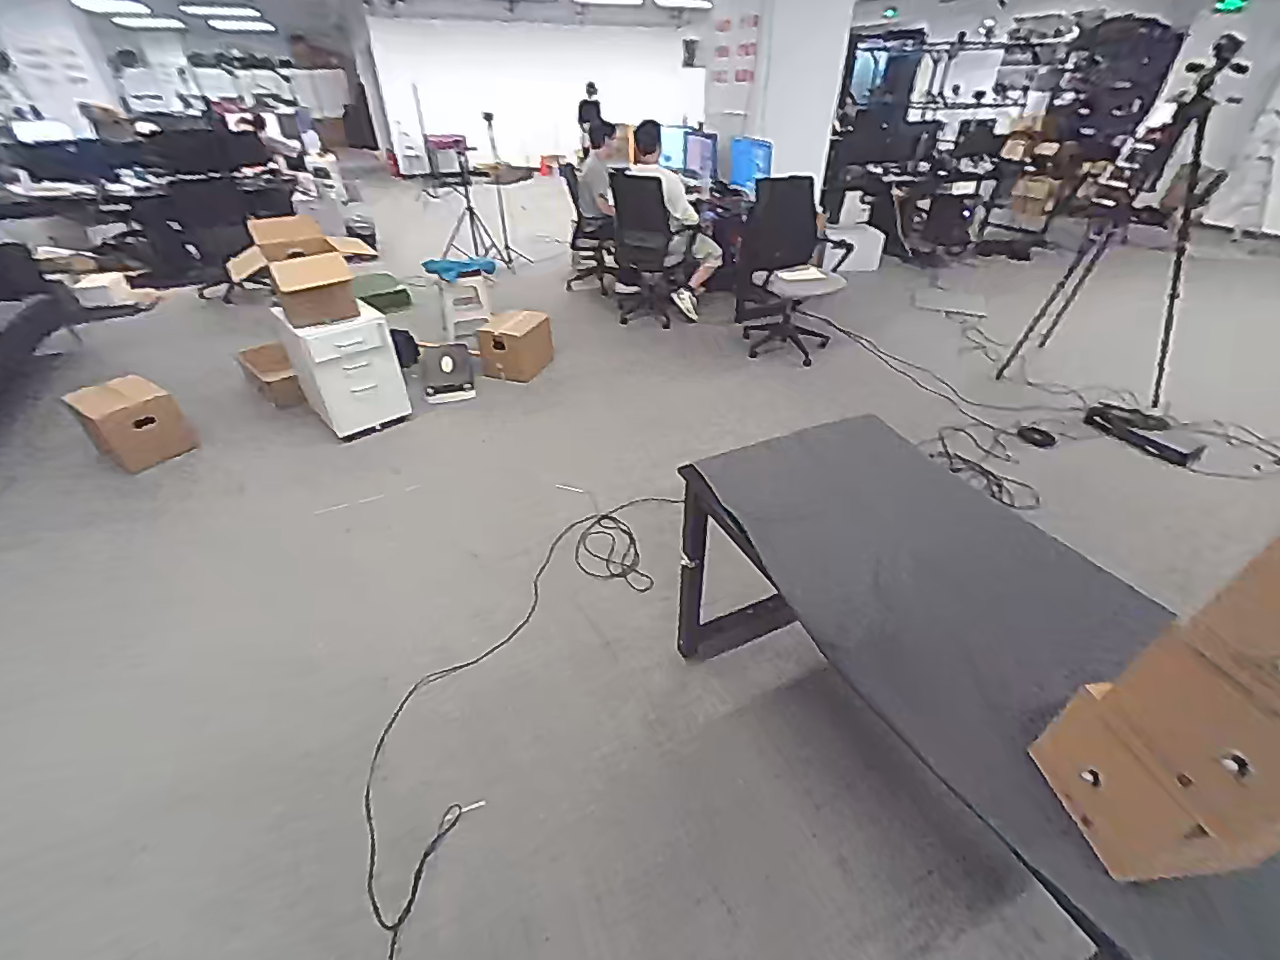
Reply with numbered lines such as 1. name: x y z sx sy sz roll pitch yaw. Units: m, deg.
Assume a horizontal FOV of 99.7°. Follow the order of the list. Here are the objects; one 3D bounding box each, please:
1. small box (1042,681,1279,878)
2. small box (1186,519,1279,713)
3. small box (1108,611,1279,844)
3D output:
1. small box: 0.653 0.372 0.678 0.179 0.176 0.168 -1 36 -5
2. small box: 0.651 0.123 0.465 0.179 0.176 0.168 -9 37 -13
3. small box: 0.653 0.251 0.568 0.179 0.176 0.168 -4 37 -9
